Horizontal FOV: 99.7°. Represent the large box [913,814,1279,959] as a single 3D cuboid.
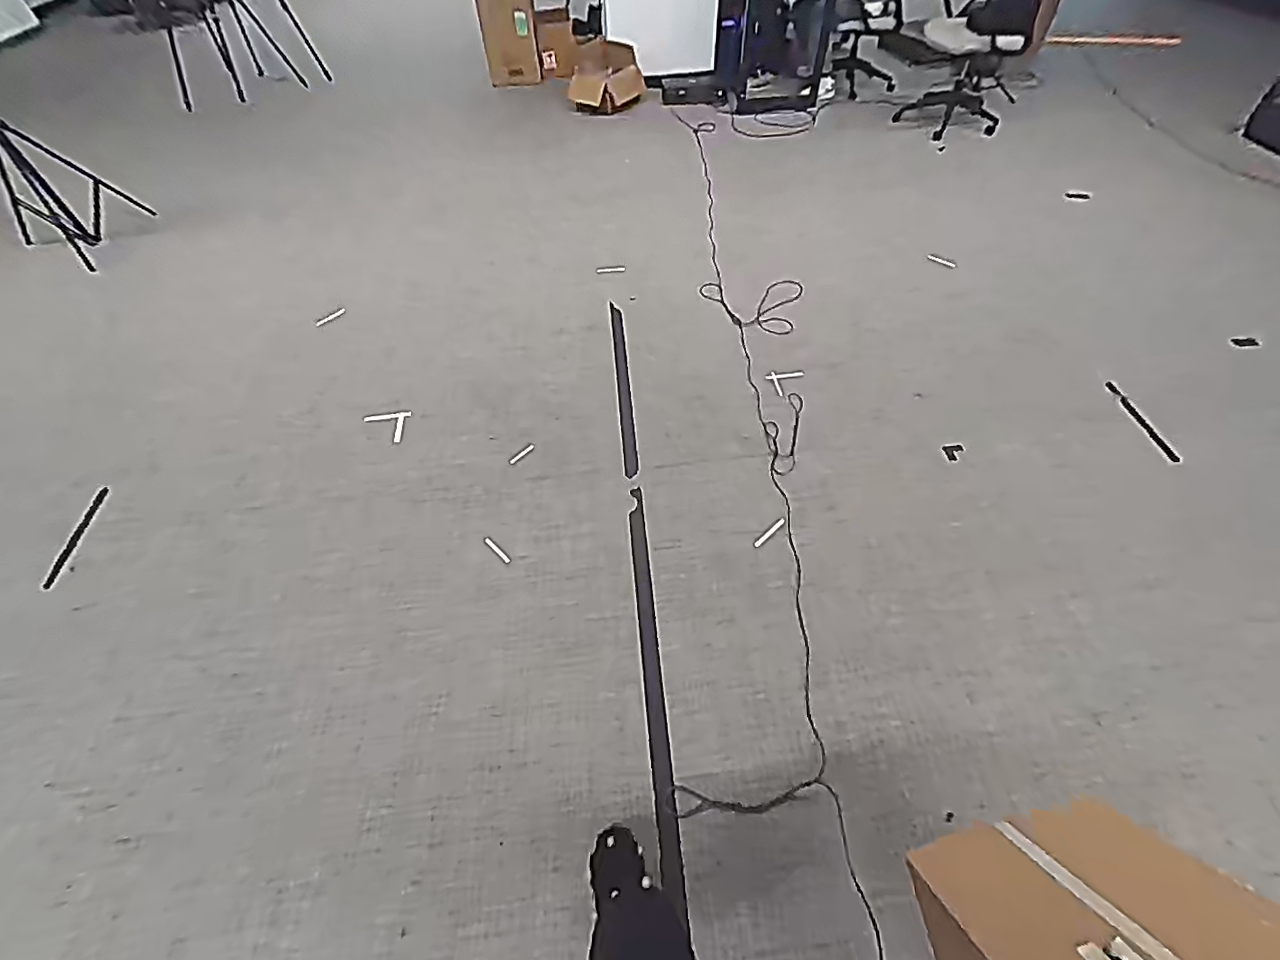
[{"bbox_3d":[0.598,0.674,0.622,0.320,0.408,0.320,-15,84,-1],"label":"large box"}]
